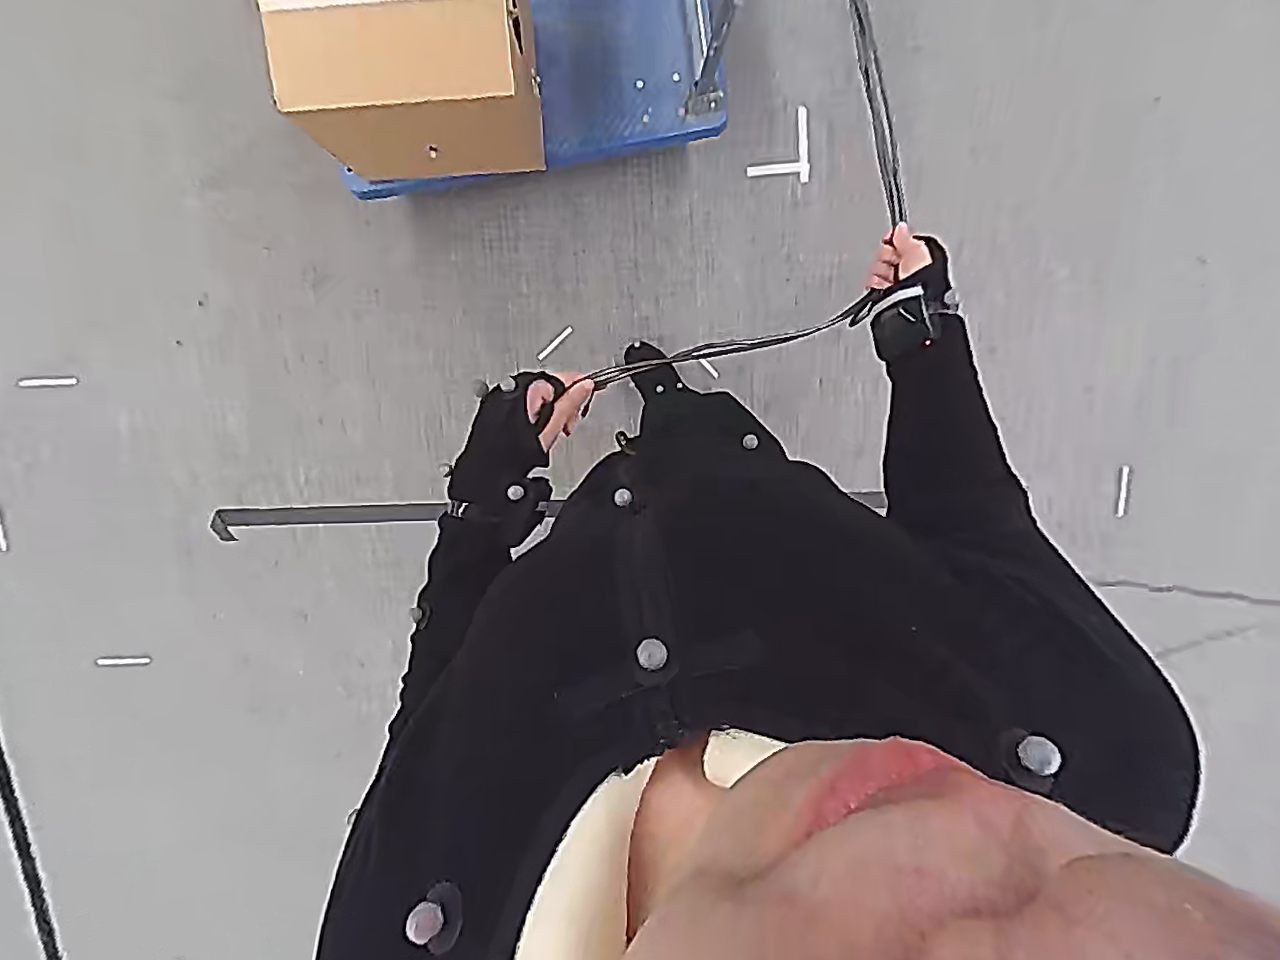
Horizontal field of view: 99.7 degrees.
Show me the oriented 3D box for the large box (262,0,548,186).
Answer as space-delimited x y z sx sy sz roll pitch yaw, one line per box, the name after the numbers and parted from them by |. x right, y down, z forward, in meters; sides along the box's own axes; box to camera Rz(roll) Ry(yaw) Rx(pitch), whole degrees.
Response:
-0.411 -0.789 1.024 0.408 0.320 0.320 -4 98 1 | large box
